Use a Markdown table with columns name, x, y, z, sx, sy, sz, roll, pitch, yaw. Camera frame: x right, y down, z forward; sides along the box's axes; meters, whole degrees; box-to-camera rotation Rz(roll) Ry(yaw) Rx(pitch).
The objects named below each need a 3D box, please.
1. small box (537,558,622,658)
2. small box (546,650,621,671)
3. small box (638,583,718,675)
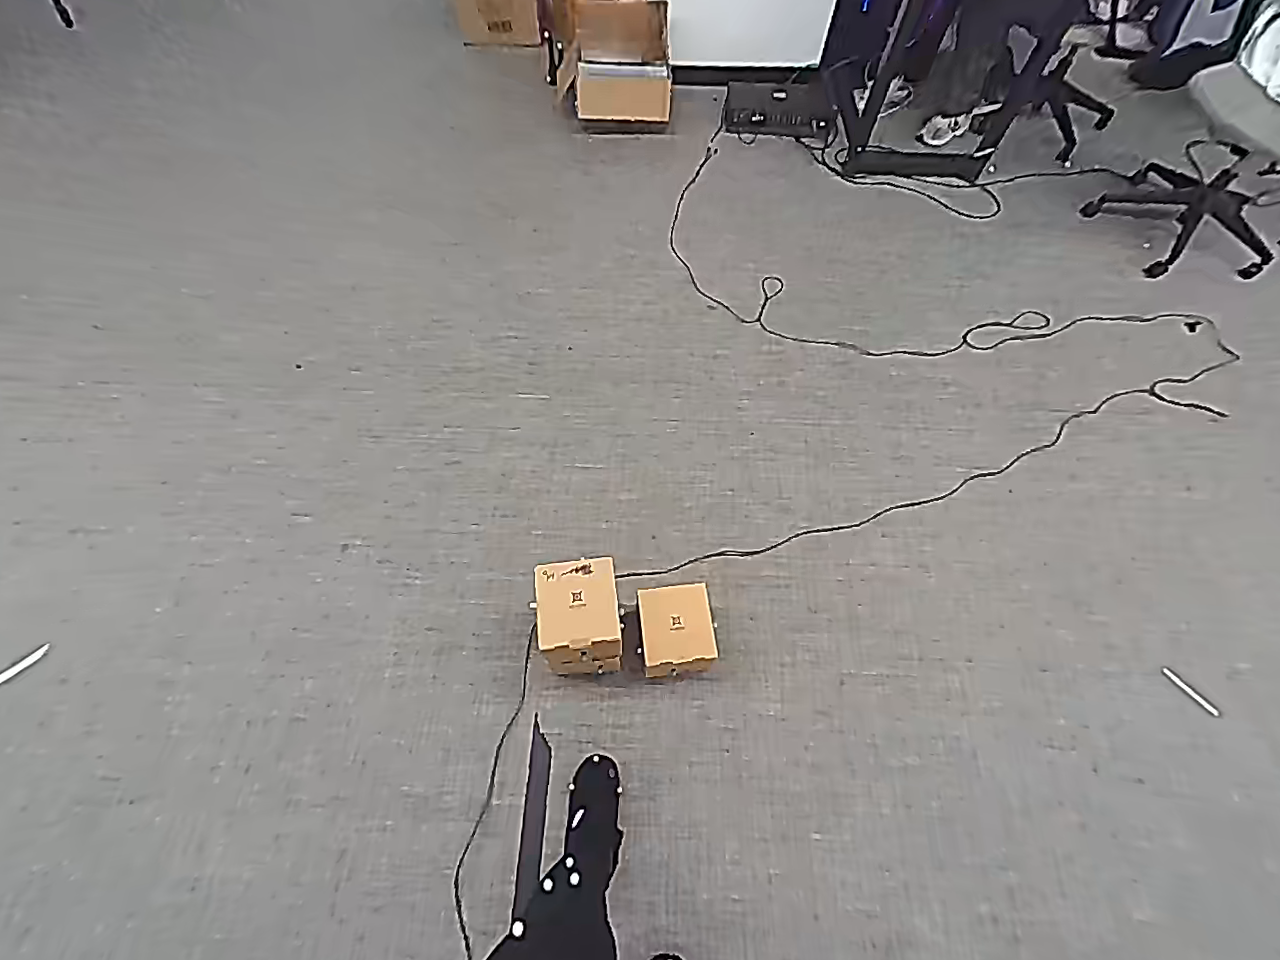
| name | x | y | z | sx | sy | sz | roll | pitch | yaw |
| --- | --- | --- | --- | --- | --- | --- | --- | --- | --- |
| small box | -0.128 | 0.284 | 1.170 | 0.168 | 0.176 | 0.179 | -5 | 63 | -5 |
| small box | -0.132 | 0.365 | 1.313 | 0.168 | 0.176 | 0.179 | -2 | 62 | -3 |
| small box | 0.085 | 0.366 | 1.317 | 0.168 | 0.176 | 0.179 | -5 | 63 | -4 |
